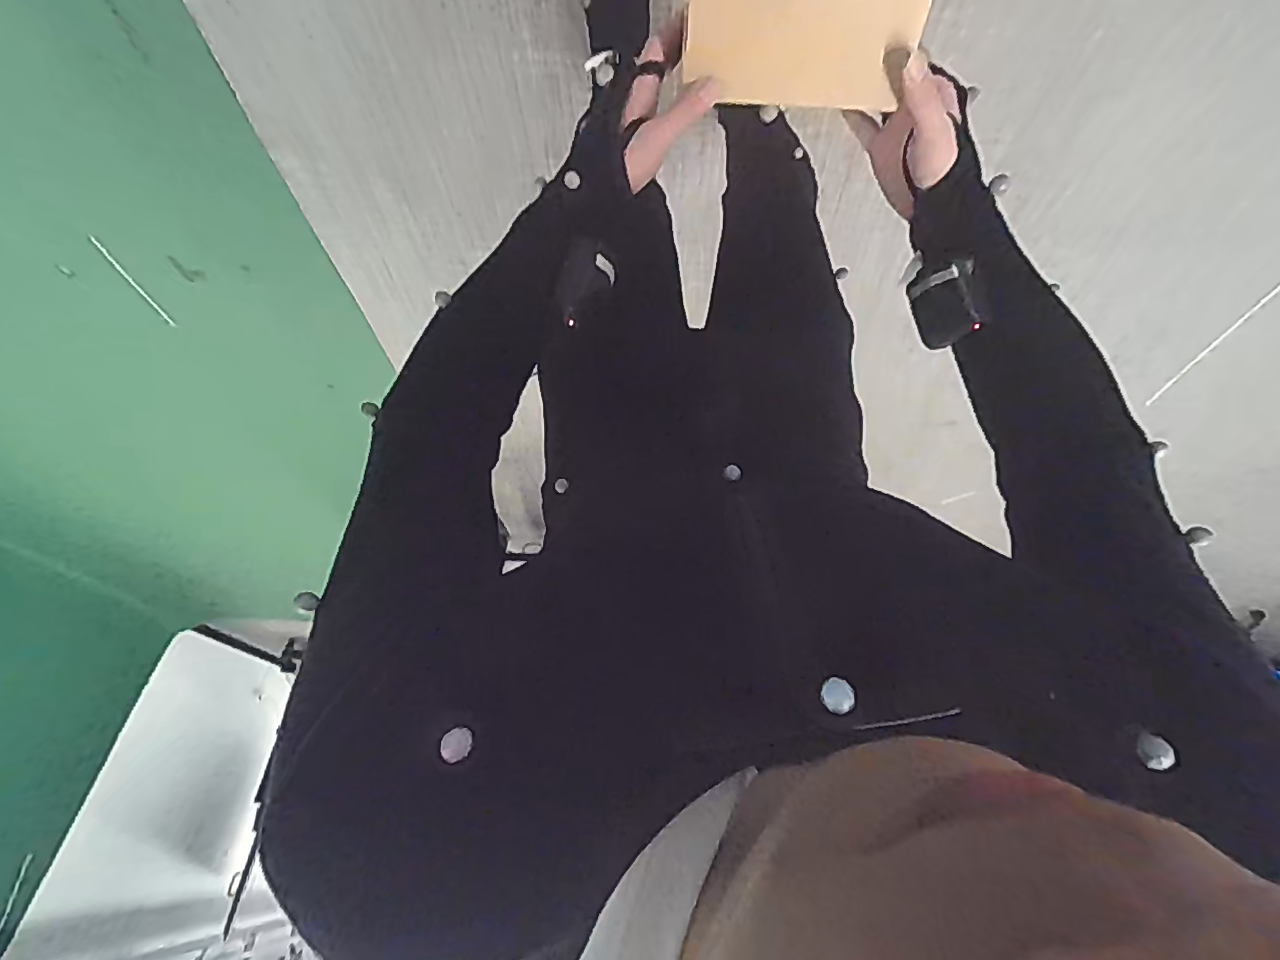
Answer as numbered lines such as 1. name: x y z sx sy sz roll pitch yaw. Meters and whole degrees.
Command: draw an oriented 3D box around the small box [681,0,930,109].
1. small box: 0.128 -0.417 0.432 0.179 0.176 0.168 4 135 2
